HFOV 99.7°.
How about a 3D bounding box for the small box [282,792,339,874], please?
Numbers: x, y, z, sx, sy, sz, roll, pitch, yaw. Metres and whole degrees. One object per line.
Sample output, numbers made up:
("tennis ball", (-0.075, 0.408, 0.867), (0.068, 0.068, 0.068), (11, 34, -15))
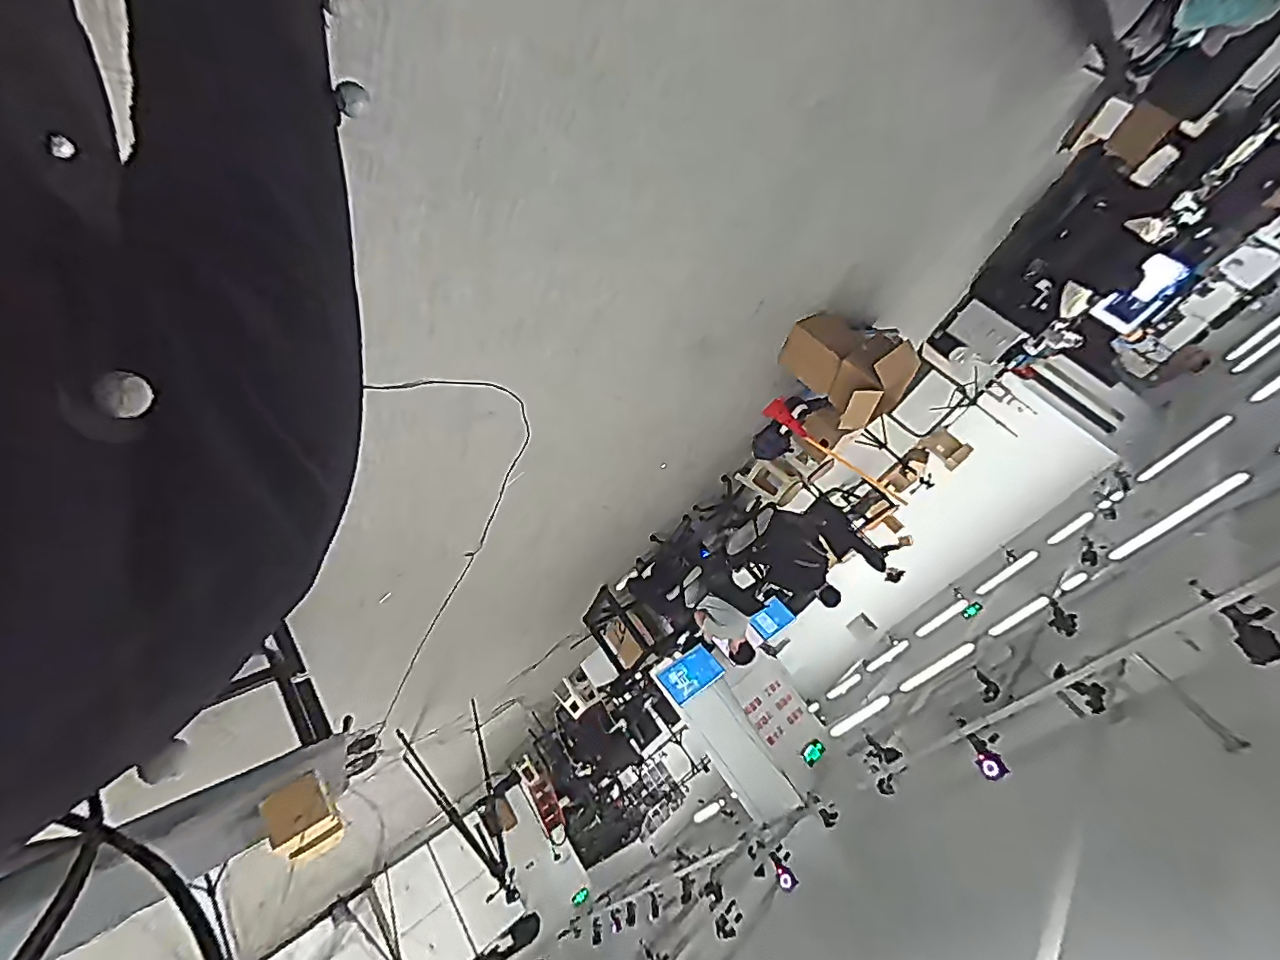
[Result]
("small box", (-1.242, 1.307, 2.007), (0.179, 0.176, 0.168), (-18, 148, -42))

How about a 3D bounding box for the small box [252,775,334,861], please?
("small box", (-1.160, 1.127, 1.811), (0.179, 0.176, 0.168), (-23, 151, -33))
